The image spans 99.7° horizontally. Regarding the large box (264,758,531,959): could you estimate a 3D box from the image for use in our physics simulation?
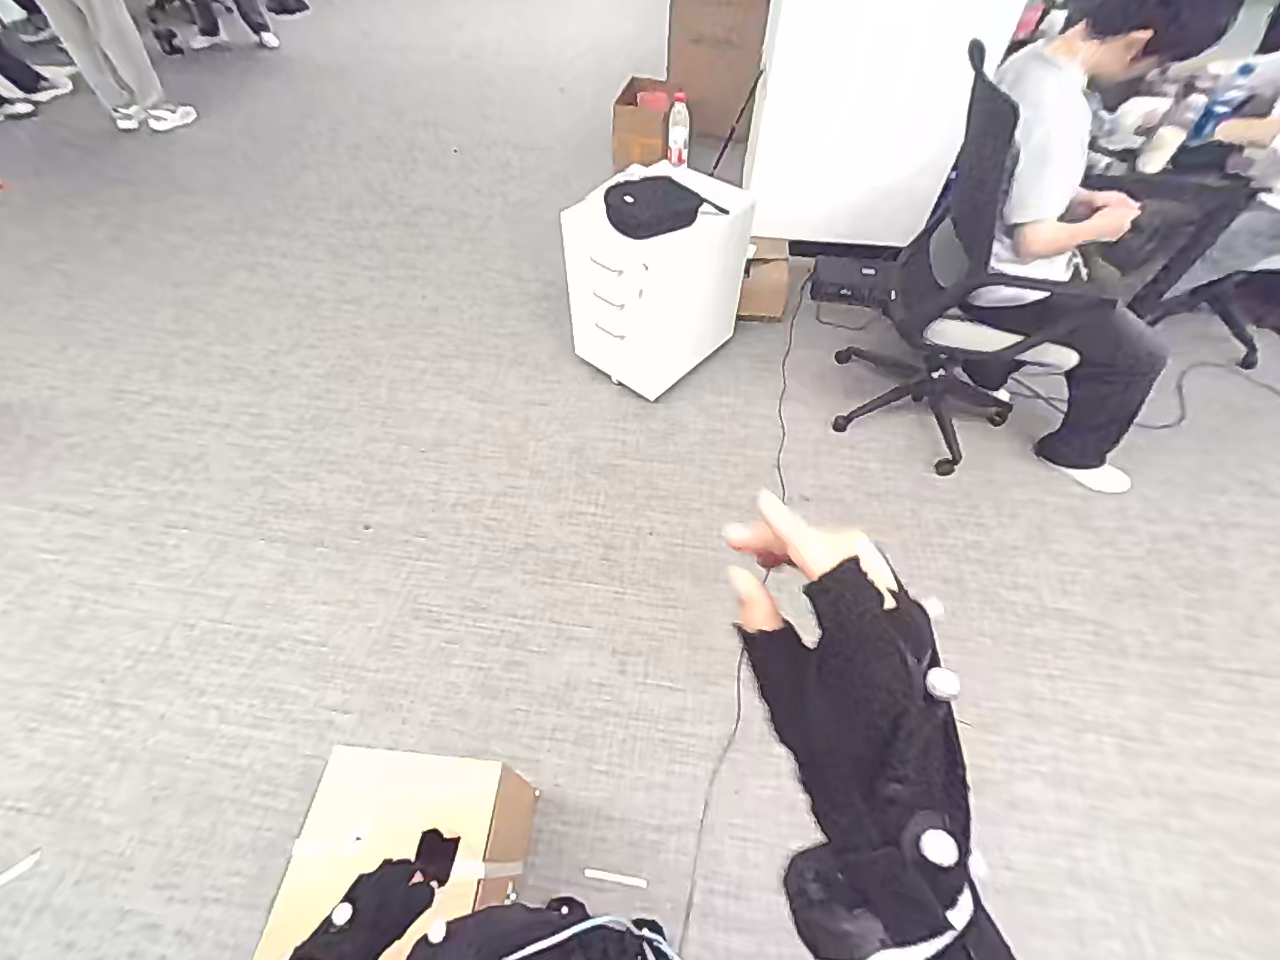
[{"bbox_3d":[-0.414,0.736,1.033,0.320,0.408,0.320,6,55,2],"label":"large box"}]
